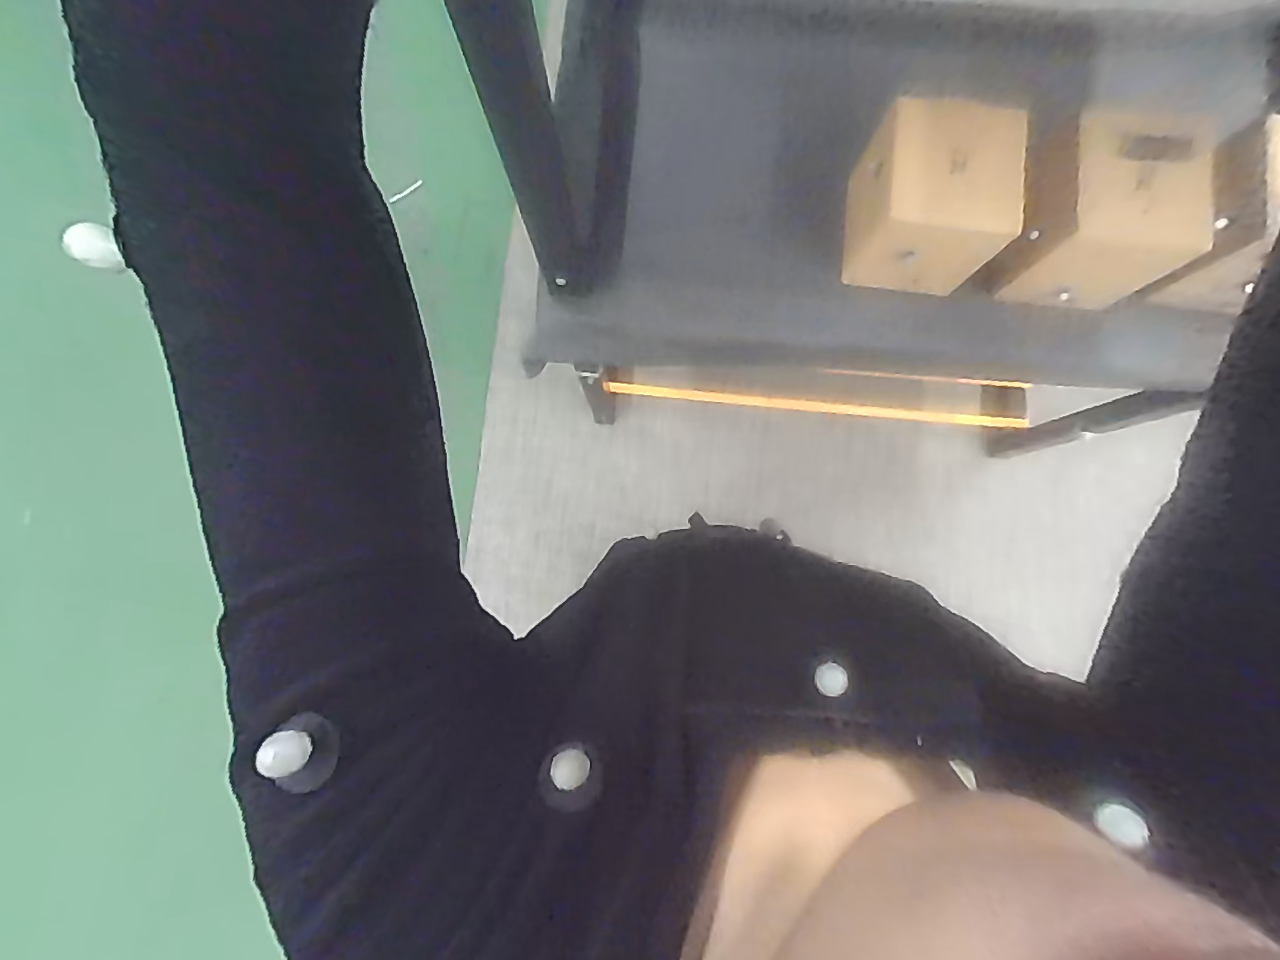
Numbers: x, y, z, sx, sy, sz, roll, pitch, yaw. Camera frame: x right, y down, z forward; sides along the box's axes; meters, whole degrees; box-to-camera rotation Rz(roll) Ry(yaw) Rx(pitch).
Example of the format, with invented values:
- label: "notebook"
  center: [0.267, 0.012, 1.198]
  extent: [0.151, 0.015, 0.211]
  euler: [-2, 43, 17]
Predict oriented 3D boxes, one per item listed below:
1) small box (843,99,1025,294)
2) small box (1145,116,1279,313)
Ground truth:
- label: "small box"
  center: [0.398, -0.383, 0.758]
  extent: [0.168, 0.176, 0.179]
  euler: [8, 81, 2]
- label: "small box"
  center: [0.849, -0.351, 0.744]
  extent: [0.168, 0.176, 0.179]
  euler: [9, 81, 2]
